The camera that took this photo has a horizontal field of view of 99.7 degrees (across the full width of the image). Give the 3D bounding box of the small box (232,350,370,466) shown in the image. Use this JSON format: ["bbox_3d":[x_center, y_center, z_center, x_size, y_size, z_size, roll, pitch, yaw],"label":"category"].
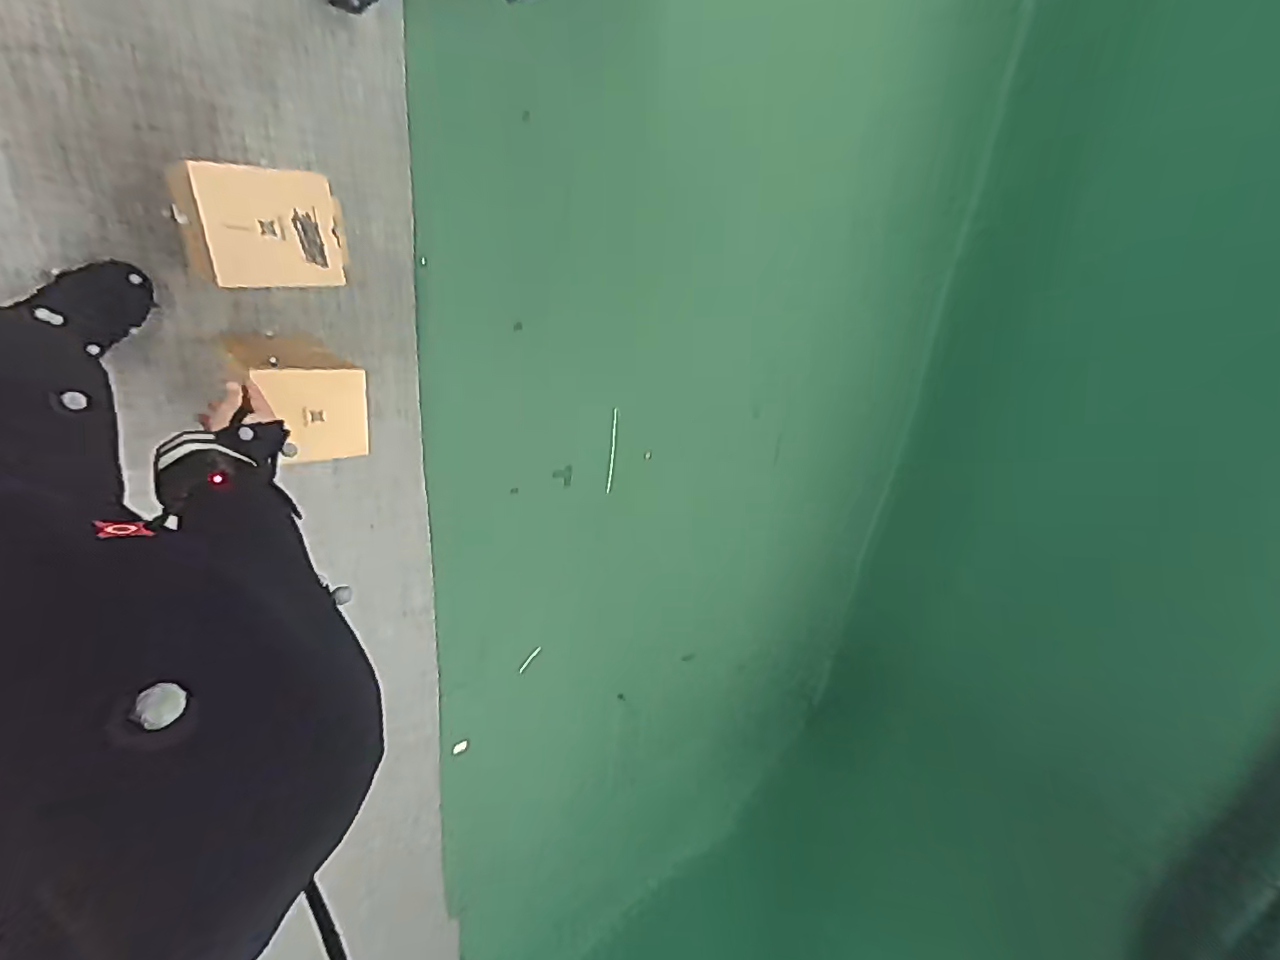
[{"bbox_3d":[-0.616,-0.139,0.986,0.179,0.176,0.168,-11,119,-41],"label":"small box"}]

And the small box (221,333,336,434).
[{"bbox_3d":[-0.725,-0.199,1.092,0.179,0.176,0.168,-12,119,-40],"label":"small box"}]

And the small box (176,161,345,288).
[{"bbox_3d":[-0.602,-0.403,0.862,0.179,0.176,0.168,-18,122,-38],"label":"small box"}]

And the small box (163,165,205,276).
[{"bbox_3d":[-0.716,-0.457,0.966,0.179,0.176,0.168,-17,121,-38],"label":"small box"}]
